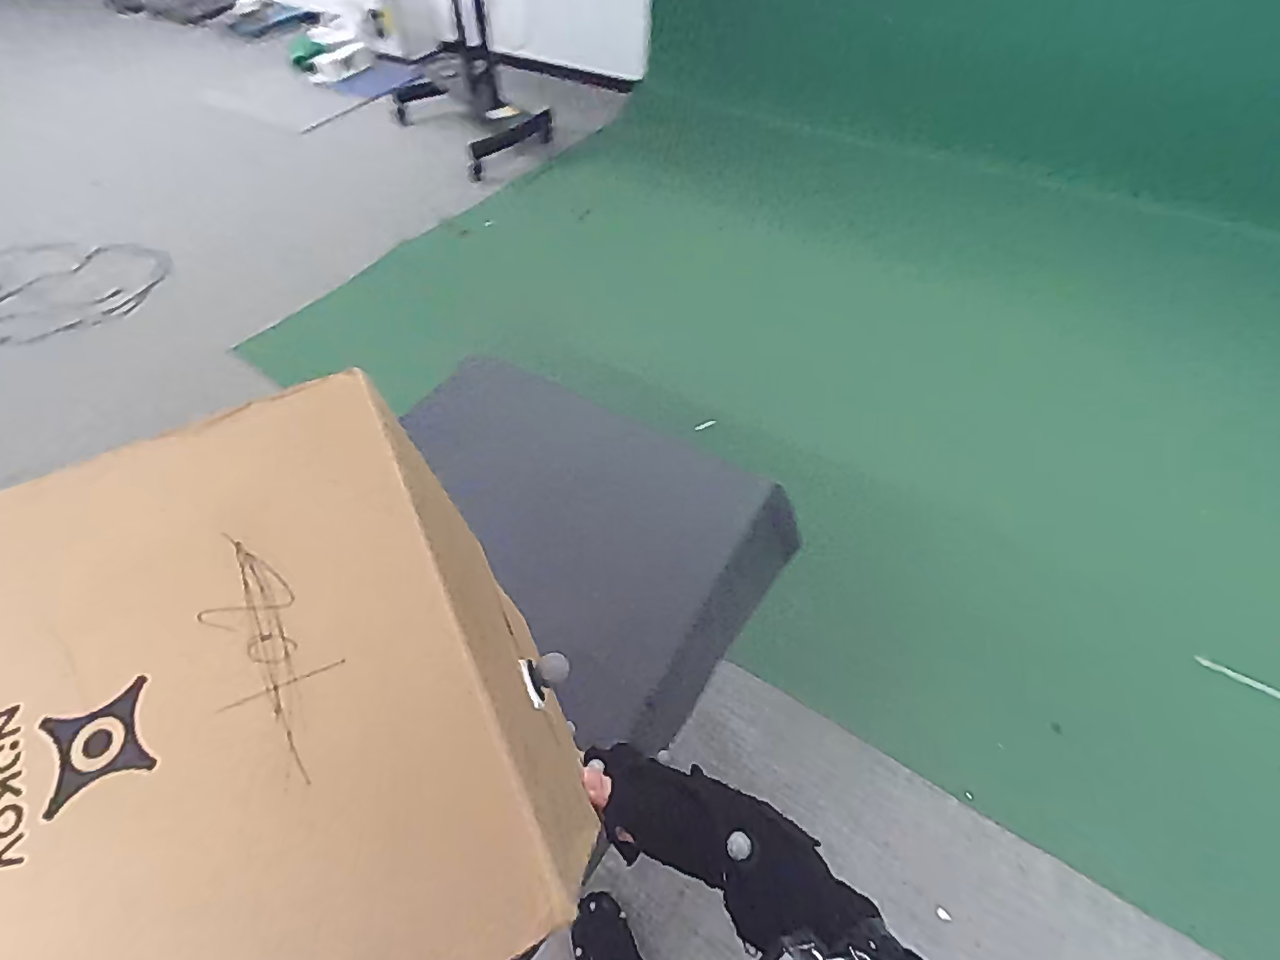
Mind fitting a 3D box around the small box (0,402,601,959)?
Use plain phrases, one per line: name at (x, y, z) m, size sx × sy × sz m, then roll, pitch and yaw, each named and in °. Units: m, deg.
small box at (-0.124, 0.107, 0.201) m, size 0.179 × 0.176 × 0.168 m, roll -24°, pitch 68°, yaw -14°
